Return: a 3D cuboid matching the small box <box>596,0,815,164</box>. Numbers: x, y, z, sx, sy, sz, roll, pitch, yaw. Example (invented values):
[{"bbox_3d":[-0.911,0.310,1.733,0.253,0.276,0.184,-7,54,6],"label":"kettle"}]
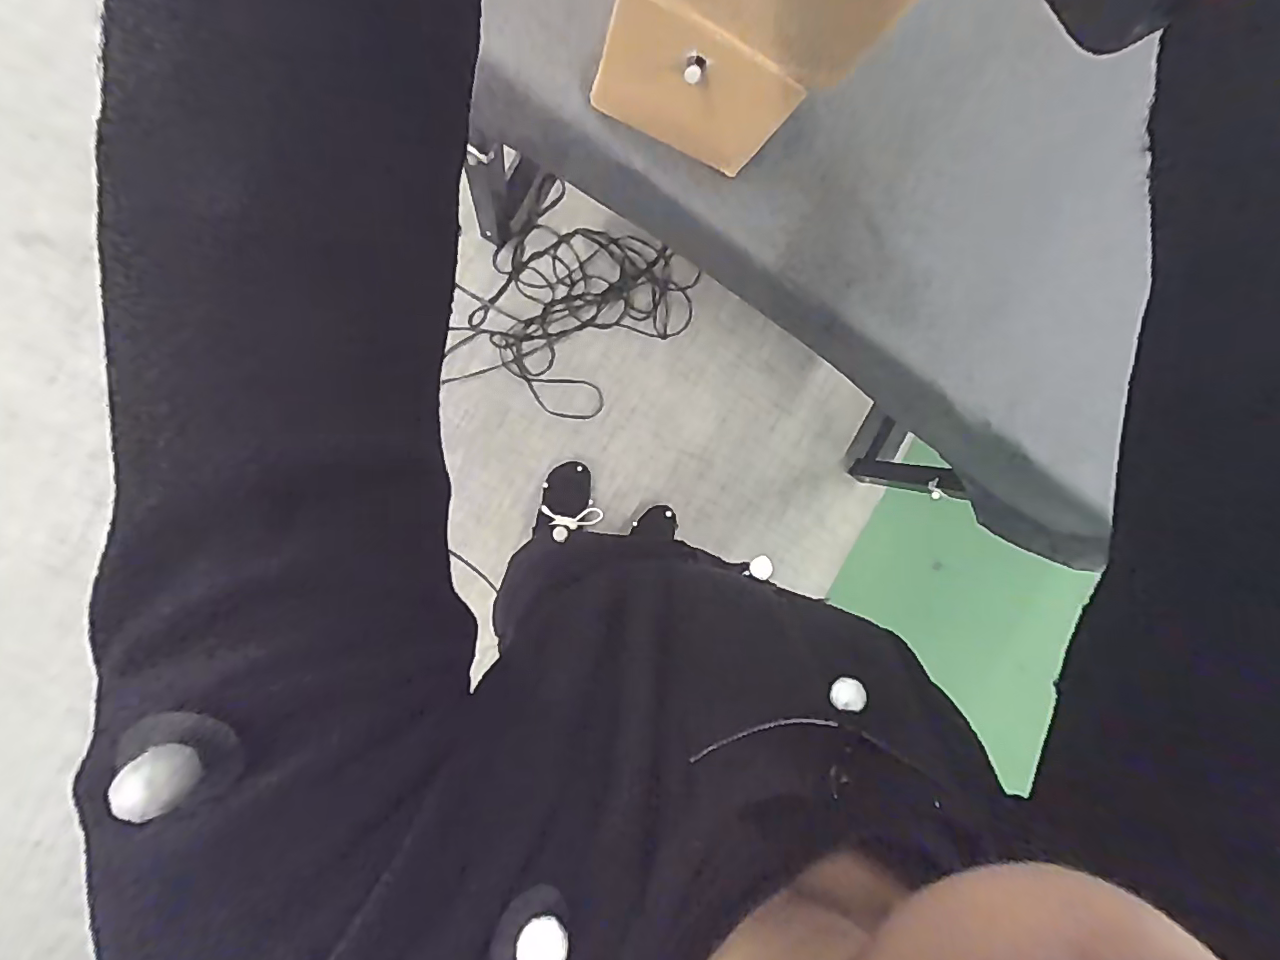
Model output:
[{"bbox_3d":[0.073,-0.436,0.508,0.179,0.176,0.168,19,91,-14],"label":"small box"}]
